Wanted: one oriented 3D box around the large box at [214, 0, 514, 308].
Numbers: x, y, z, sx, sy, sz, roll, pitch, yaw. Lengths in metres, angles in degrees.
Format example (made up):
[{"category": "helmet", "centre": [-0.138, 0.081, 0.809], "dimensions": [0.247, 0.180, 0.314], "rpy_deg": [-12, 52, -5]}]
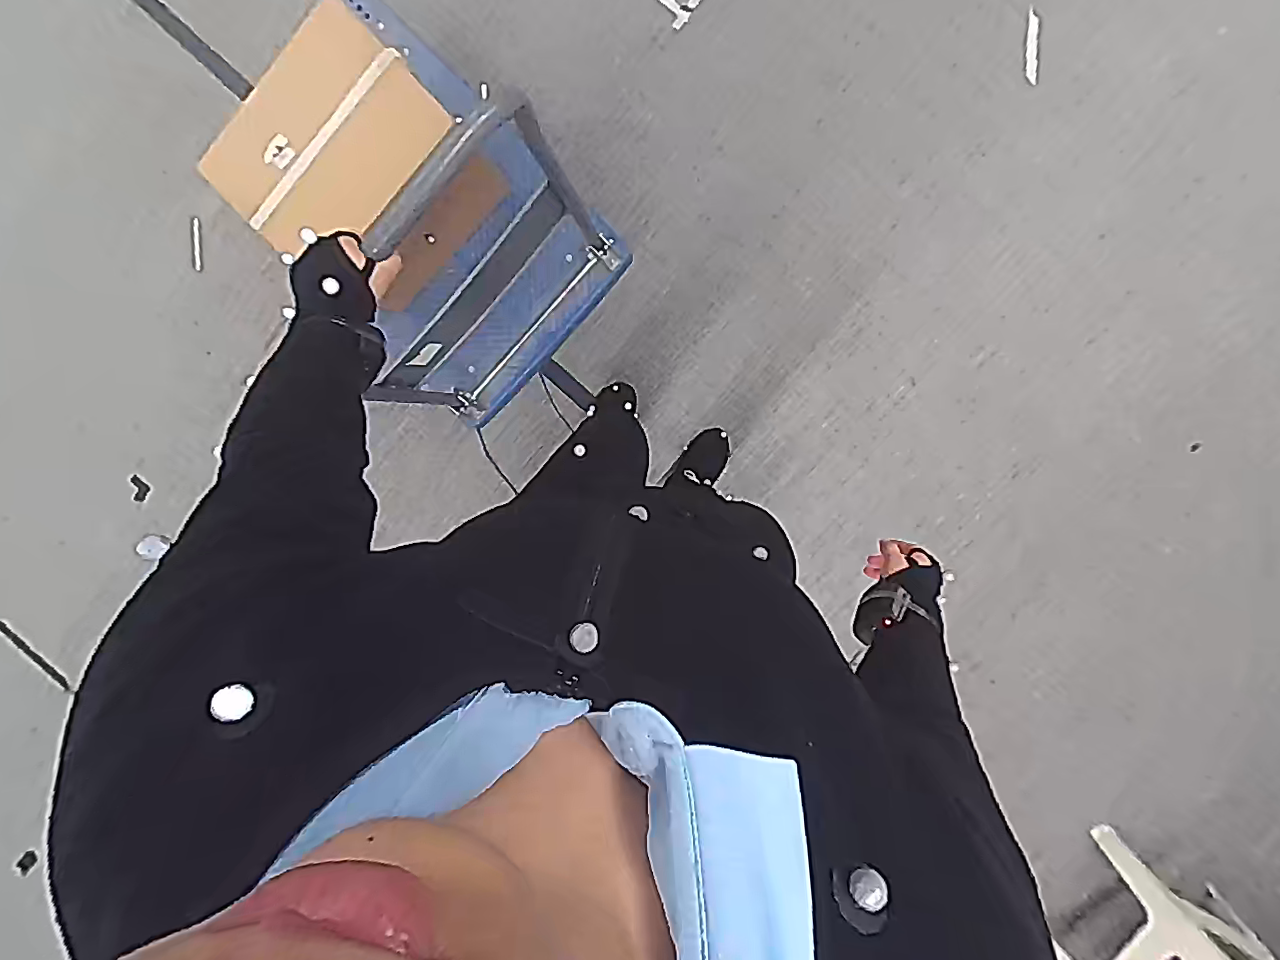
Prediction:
[{"category": "large box", "centre": [-0.541, -0.632, 1.129], "dimensions": [0.408, 0.320, 0.320], "rpy_deg": [-43, 92, 10]}]
